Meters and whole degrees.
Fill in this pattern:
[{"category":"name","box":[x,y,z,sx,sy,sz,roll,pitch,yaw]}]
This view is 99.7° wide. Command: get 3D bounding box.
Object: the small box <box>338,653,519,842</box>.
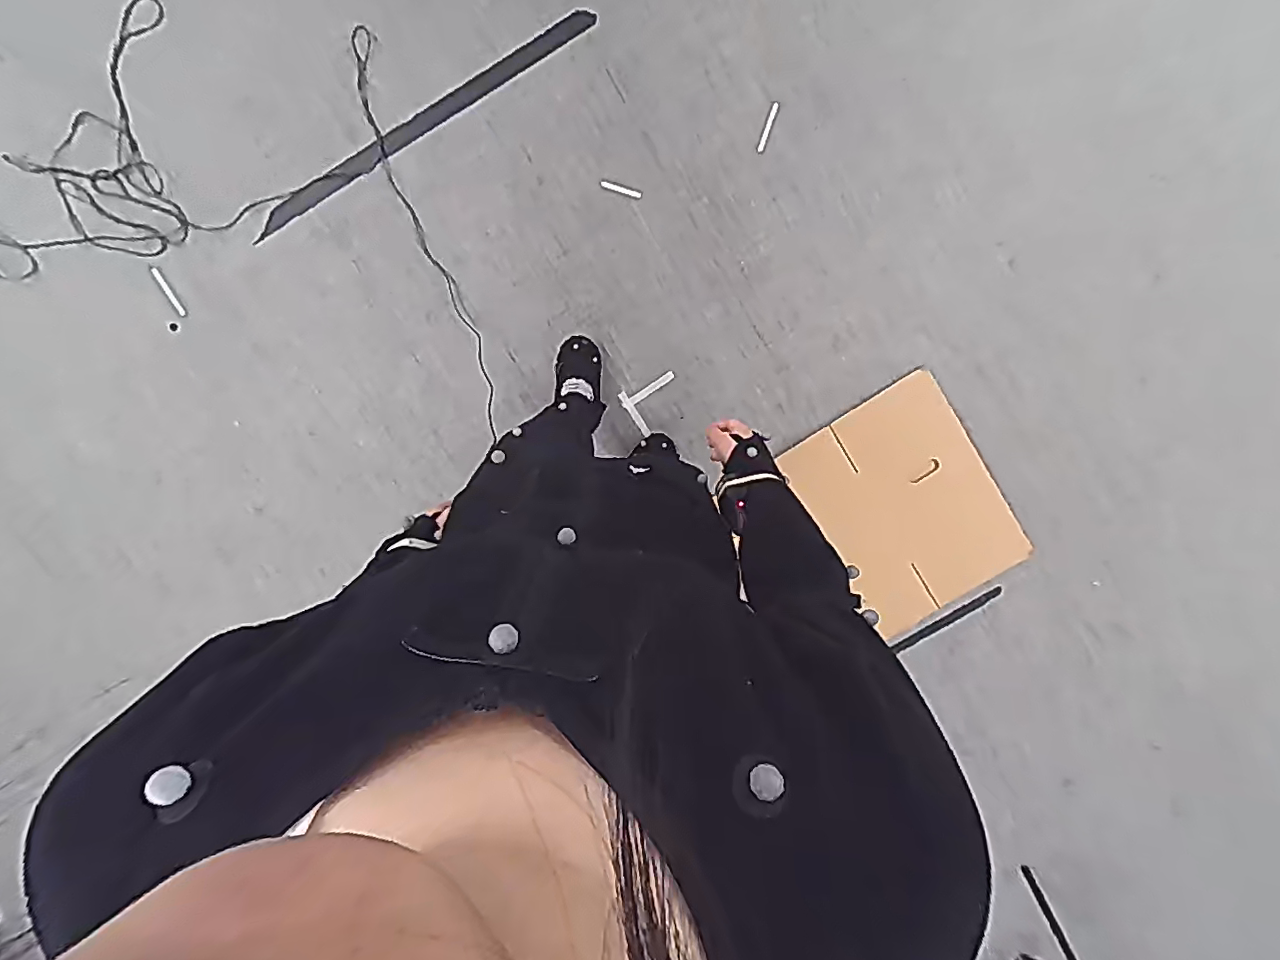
[{"category":"small box","box":[-0.303,0.383,0.809,0.179,0.176,0.168,19,97,-1]}]
